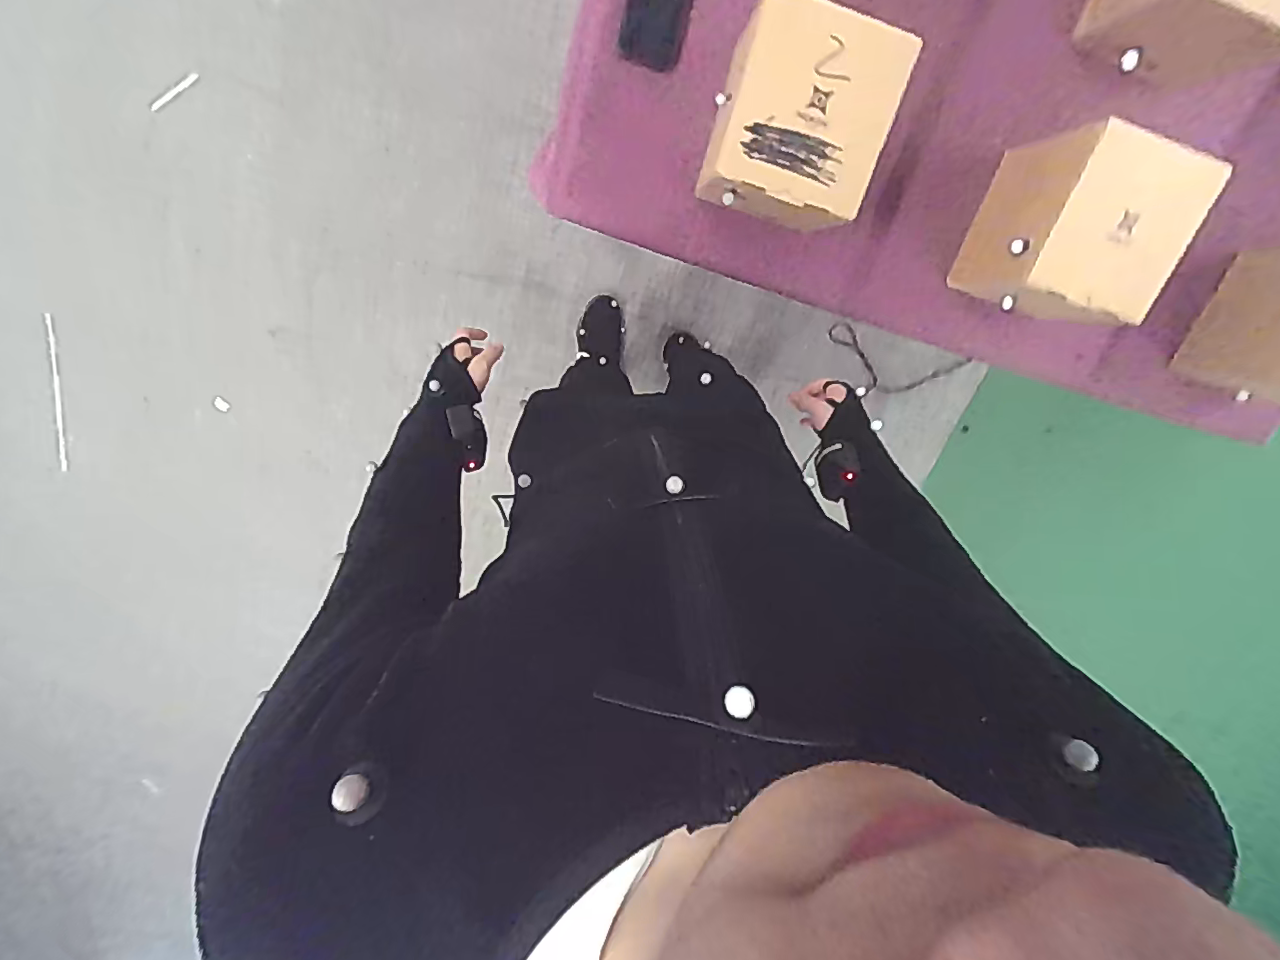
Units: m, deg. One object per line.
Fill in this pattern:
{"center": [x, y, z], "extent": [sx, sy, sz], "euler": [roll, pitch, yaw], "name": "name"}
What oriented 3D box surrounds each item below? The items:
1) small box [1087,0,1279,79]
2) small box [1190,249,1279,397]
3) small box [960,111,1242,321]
{"center": [0.642, -0.574, 0.573], "extent": [0.168, 0.176, 0.179], "euler": [17, 112, -7], "name": "small box"}
{"center": [0.921, -0.201, 0.723], "extent": [0.168, 0.176, 0.179], "euler": [15, 112, -5], "name": "small box"}
{"center": [0.548, -0.316, 0.677], "extent": [0.168, 0.176, 0.179], "euler": [15, 111, -7], "name": "small box"}
